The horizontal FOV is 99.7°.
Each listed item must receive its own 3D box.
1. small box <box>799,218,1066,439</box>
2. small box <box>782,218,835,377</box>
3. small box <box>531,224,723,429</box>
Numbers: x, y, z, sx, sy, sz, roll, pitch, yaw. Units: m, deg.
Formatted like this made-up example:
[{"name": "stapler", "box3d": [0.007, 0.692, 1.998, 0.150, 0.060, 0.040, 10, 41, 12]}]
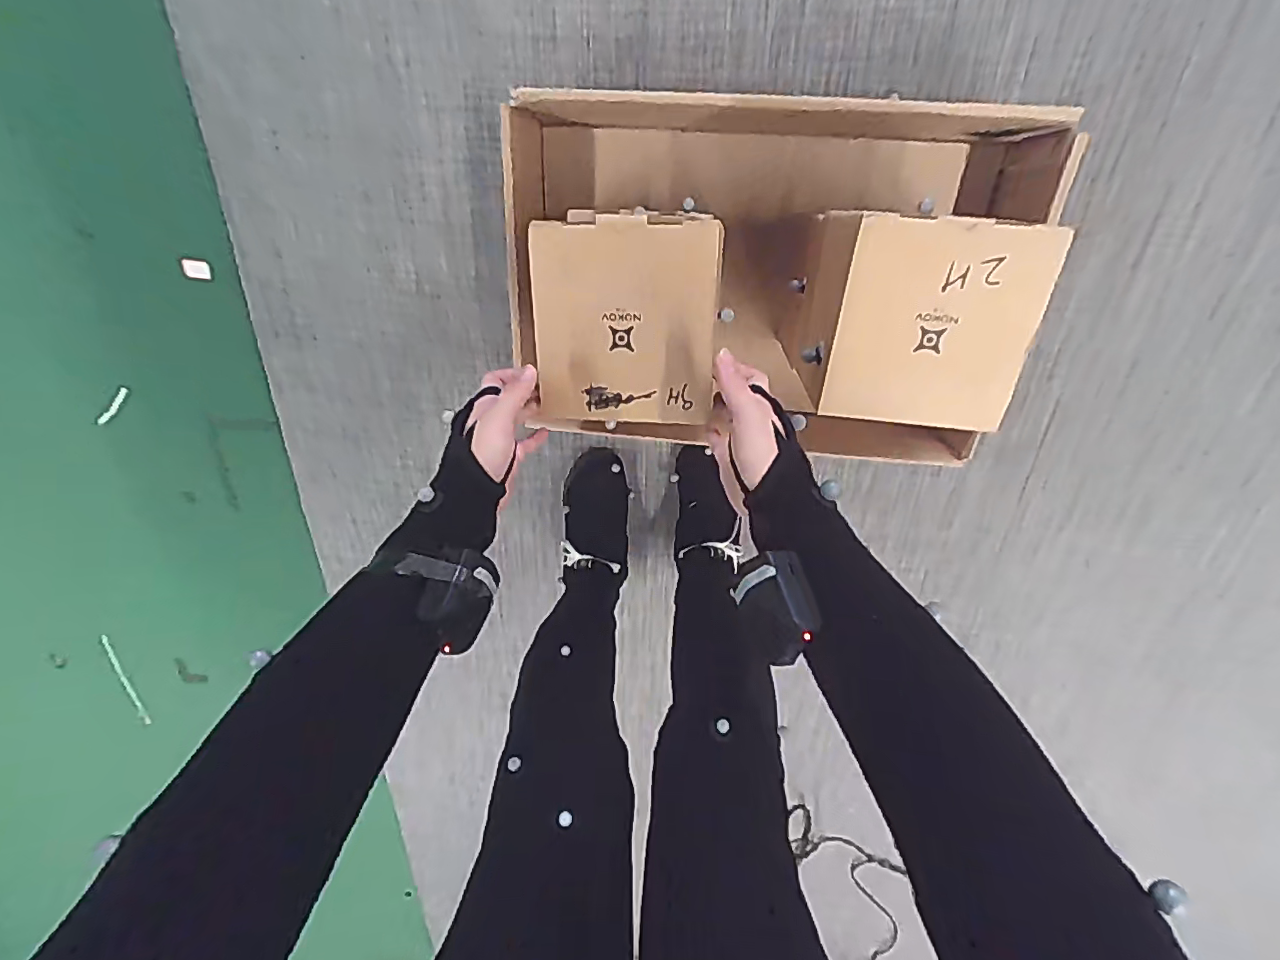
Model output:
[{"name": "small box", "box3d": [0.263, -0.159, 0.542, 0.168, 0.176, 0.179, 7, 116, 5]}, {"name": "small box", "box3d": [0.281, -0.230, 0.690, 0.168, 0.176, 0.179, 7, 117, 5]}, {"name": "small box", "box3d": [-0.002, -0.161, 0.560, 0.168, 0.176, 0.179, 3, 111, 10]}]
